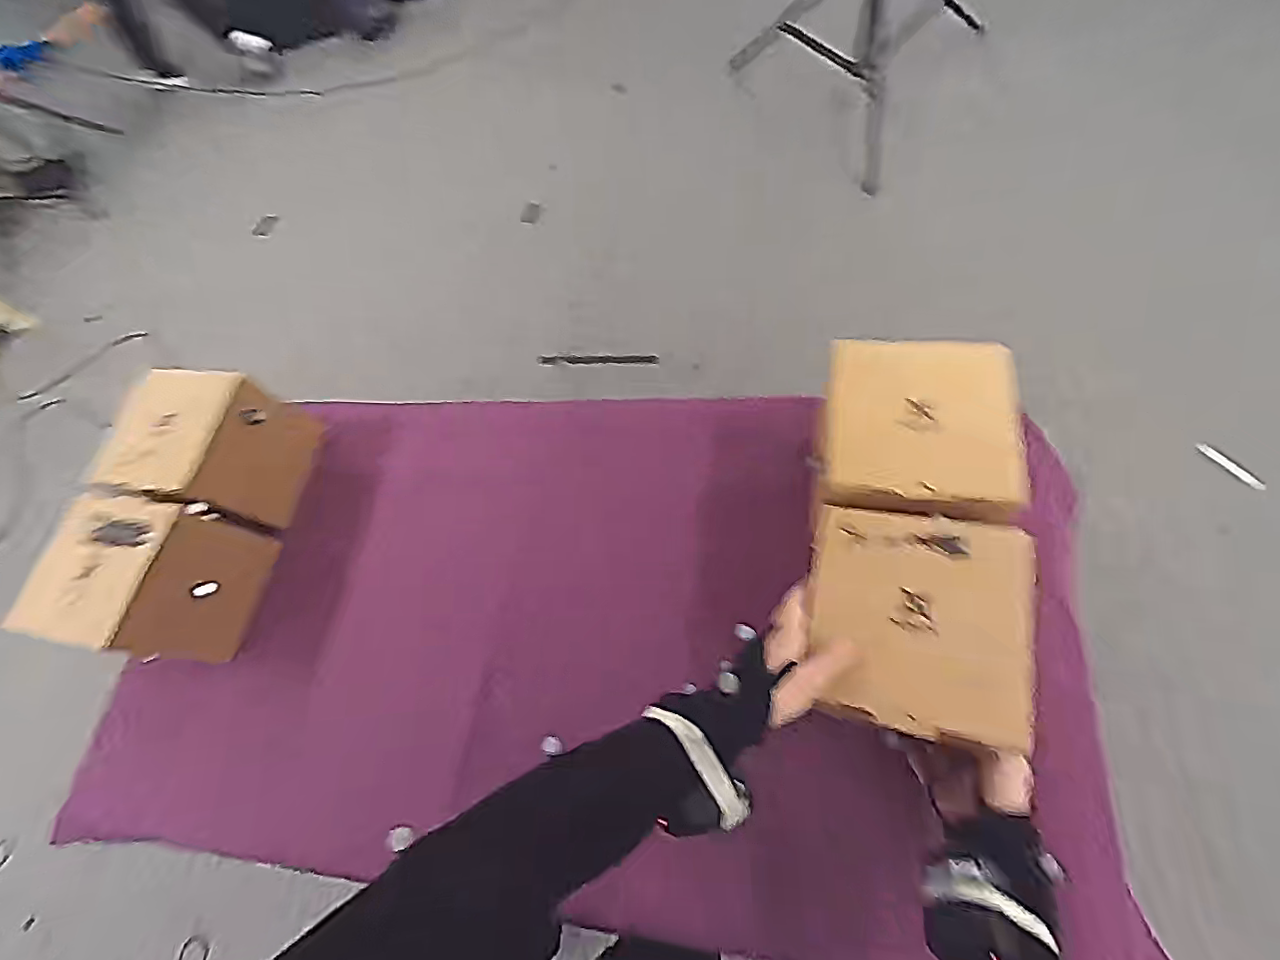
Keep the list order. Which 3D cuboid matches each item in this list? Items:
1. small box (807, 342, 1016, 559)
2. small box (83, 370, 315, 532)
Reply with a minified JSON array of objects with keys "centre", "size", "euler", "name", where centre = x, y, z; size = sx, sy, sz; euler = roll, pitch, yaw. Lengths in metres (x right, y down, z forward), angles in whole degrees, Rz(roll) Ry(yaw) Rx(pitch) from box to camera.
[{"centre":[0.279,-0.029,0.598],"size":[0.168,0.176,0.179],"euler":[4,65,13],"name":"small box"},{"centre":[-0.618,-0.039,0.786],"size":[0.168,0.176,0.179],"euler":[4,69,13],"name":"small box"}]
